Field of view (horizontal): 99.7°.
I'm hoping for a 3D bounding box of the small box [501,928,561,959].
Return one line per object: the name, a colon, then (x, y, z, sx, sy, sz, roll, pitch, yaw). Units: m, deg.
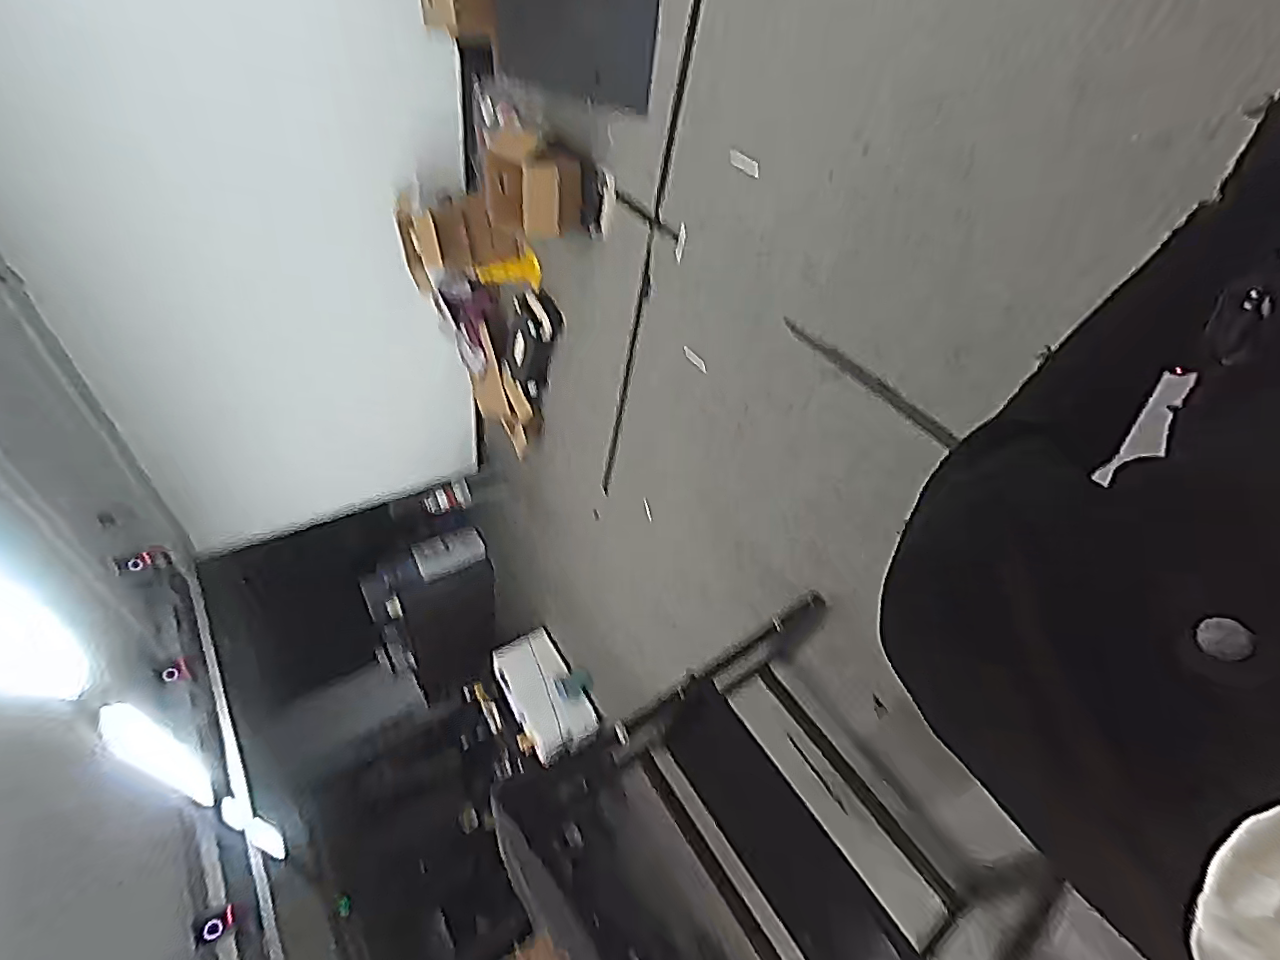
small box: (-0.318, 1.488, 1.619, 0.179, 0.176, 0.168, 51, 146, 27)
